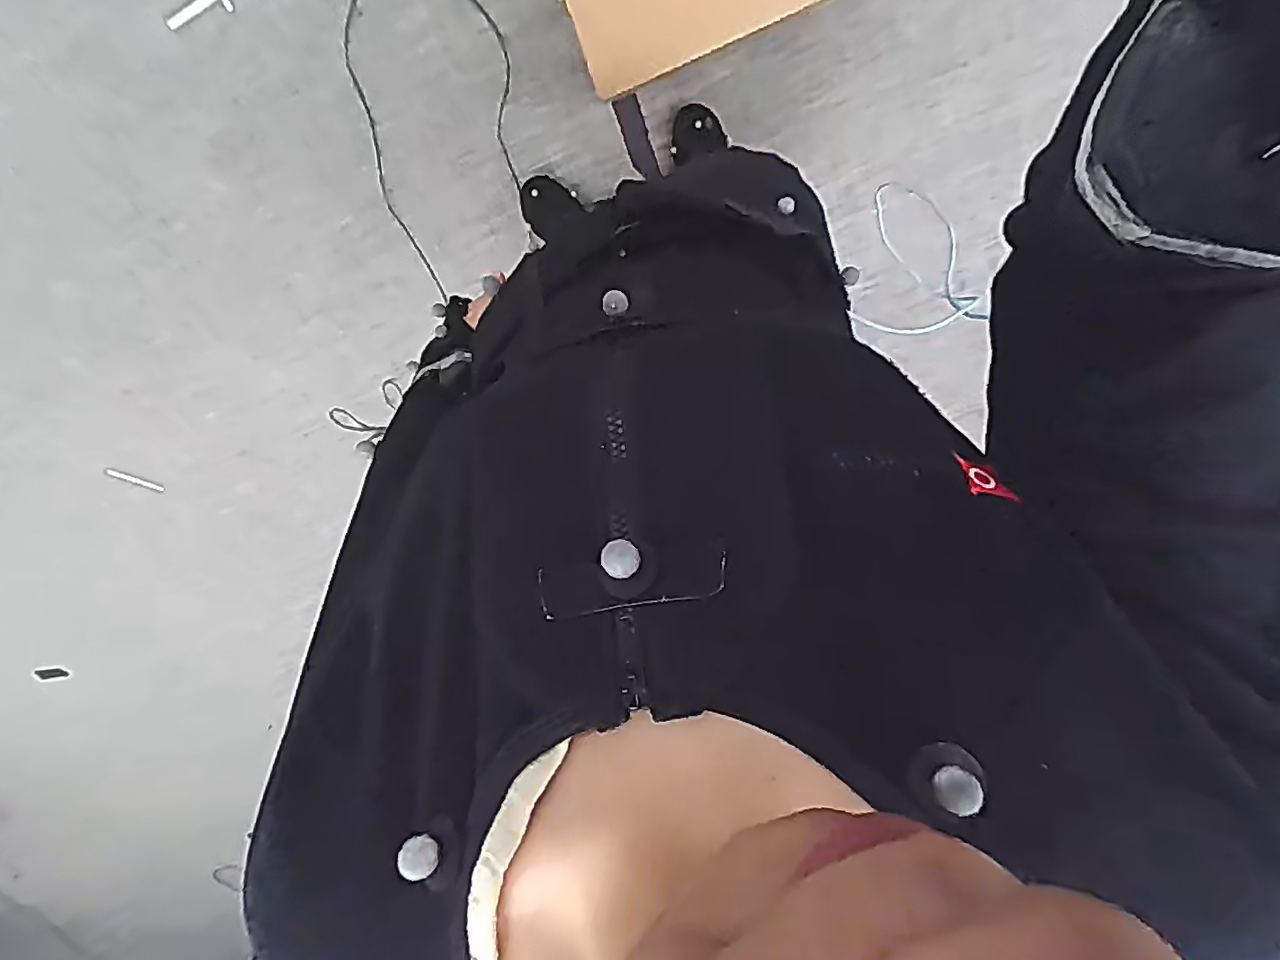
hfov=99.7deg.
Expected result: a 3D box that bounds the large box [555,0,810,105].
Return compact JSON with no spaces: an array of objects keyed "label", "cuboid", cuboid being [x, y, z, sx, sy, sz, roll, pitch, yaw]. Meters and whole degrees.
[{"label":"large box","cuboid":[0.053,-0.814,0.797,0.408,0.320,0.320,-19,123,10]}]
